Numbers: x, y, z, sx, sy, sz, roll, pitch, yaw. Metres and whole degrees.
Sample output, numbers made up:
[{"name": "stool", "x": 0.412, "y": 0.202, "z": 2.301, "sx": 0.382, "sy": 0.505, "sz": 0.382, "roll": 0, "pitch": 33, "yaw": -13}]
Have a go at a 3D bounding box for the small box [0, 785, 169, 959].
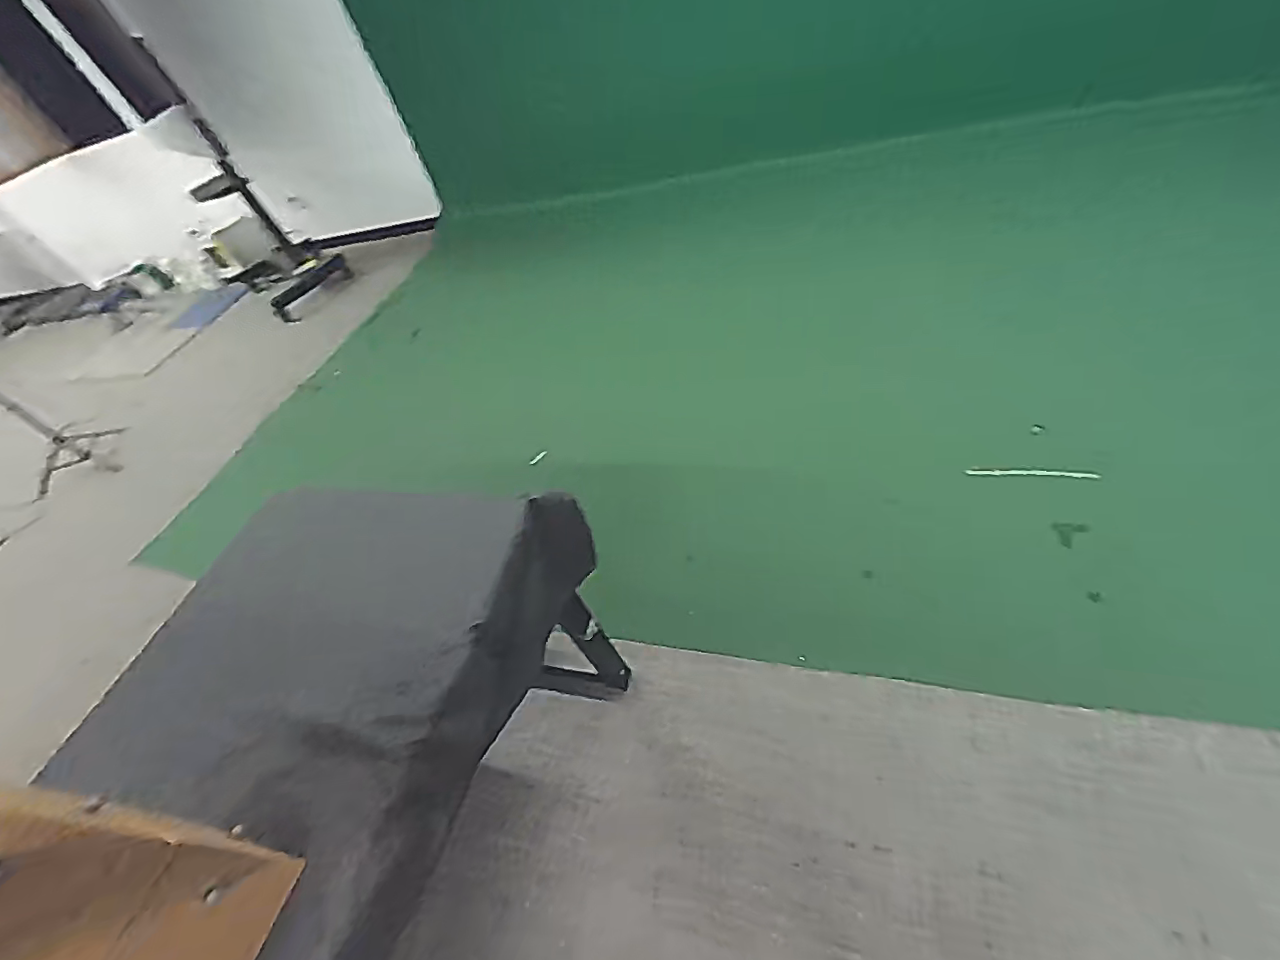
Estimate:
[{"name": "small box", "x": -0.549, "y": 0.356, "z": 0.428, "sx": 0.168, "sy": 0.176, "sz": 0.179, "roll": 1, "pitch": 49, "yaw": 21}]
